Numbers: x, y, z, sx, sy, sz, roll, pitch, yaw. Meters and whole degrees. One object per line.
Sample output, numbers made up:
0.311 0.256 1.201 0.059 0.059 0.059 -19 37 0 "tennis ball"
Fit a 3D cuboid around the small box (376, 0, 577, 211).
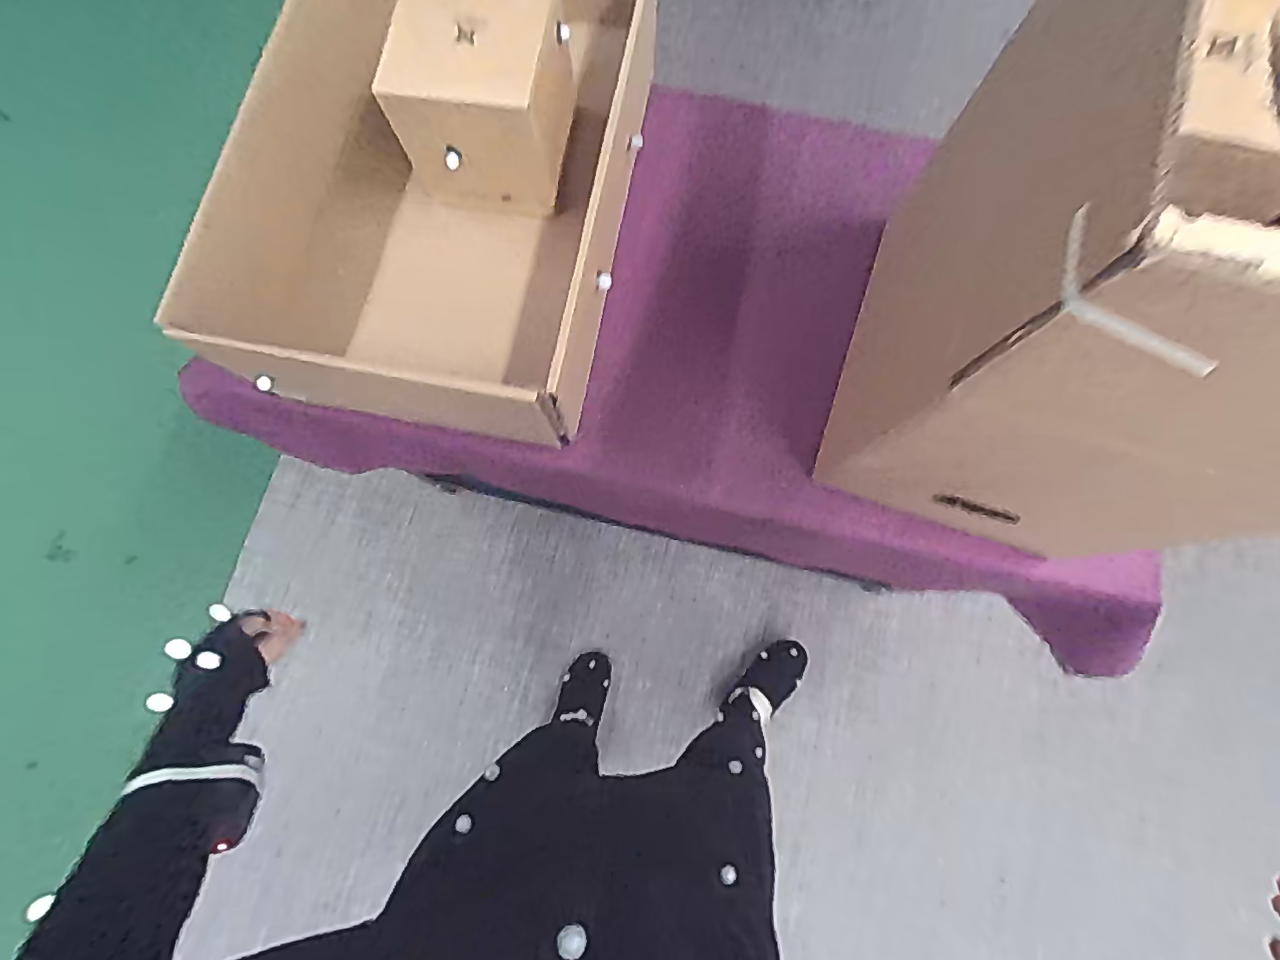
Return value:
-0.176 -0.452 0.642 0.168 0.176 0.179 7 78 3 "small box"
